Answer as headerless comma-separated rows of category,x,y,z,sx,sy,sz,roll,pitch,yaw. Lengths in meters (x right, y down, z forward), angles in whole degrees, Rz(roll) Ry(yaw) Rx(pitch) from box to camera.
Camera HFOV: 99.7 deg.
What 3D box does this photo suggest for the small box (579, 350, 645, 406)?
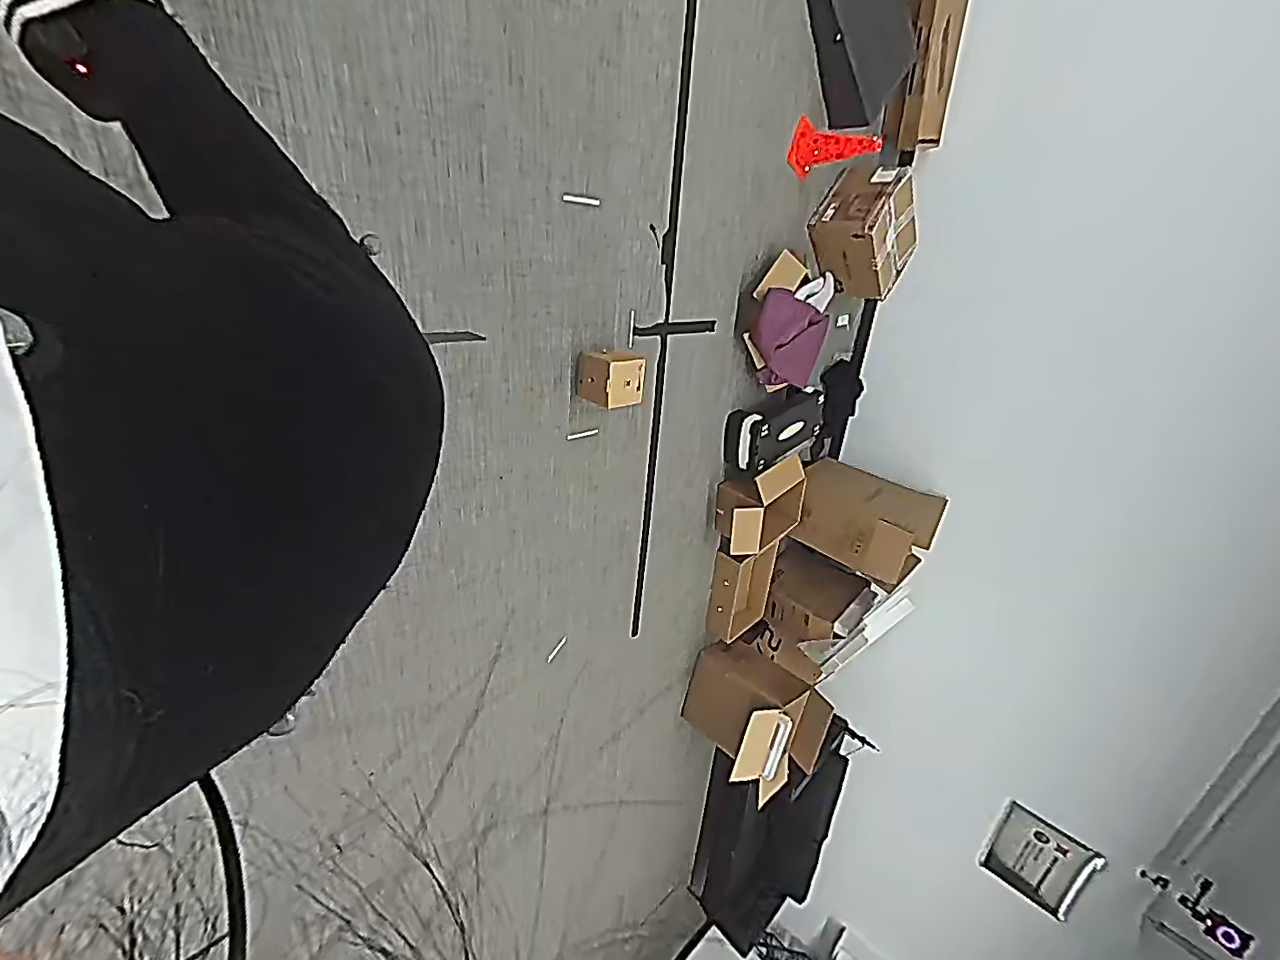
small box,-0.106,-0.374,1.964,0.179,0.176,0.168,-17,123,-42
